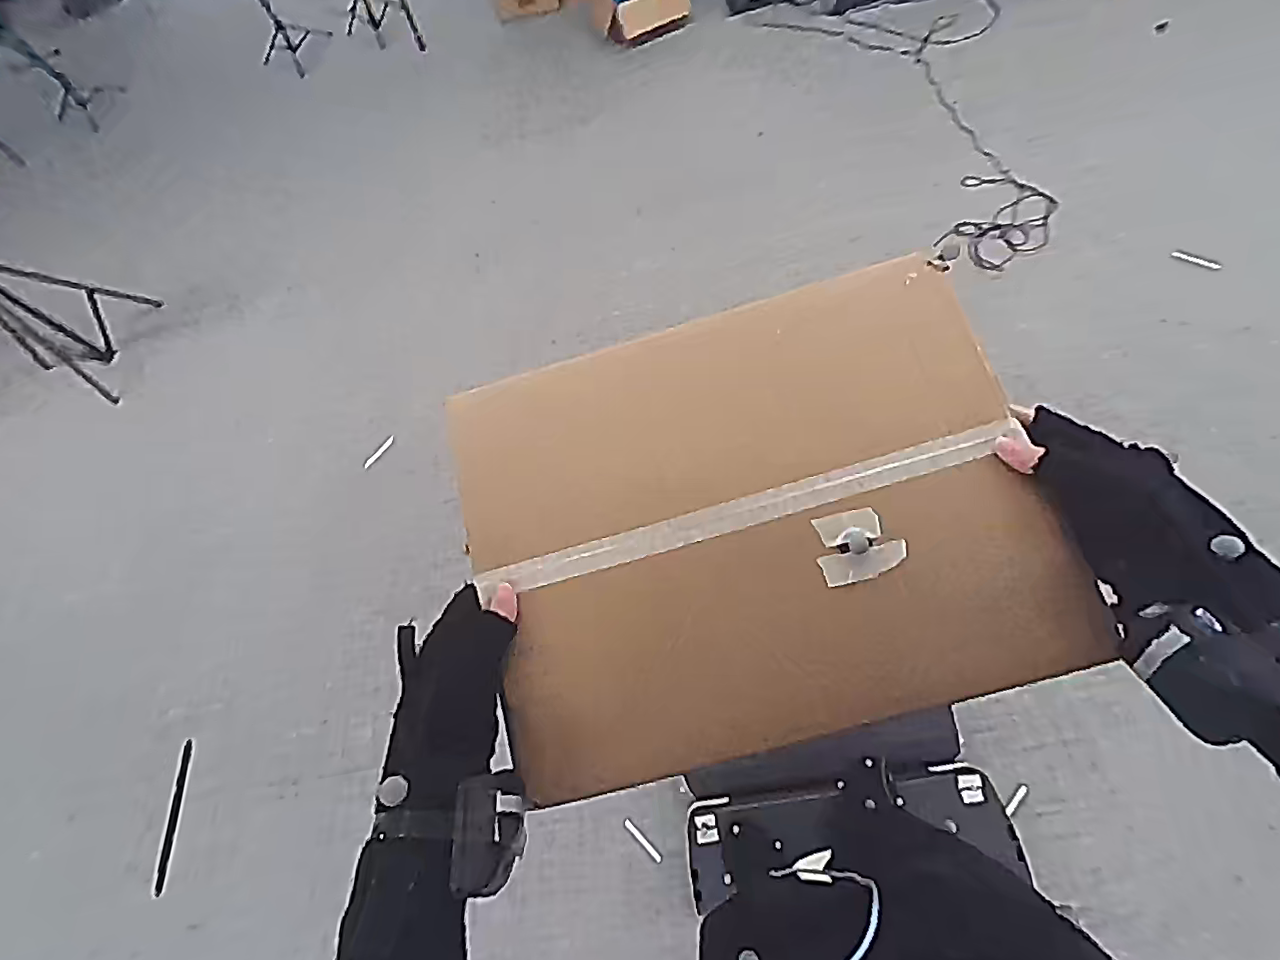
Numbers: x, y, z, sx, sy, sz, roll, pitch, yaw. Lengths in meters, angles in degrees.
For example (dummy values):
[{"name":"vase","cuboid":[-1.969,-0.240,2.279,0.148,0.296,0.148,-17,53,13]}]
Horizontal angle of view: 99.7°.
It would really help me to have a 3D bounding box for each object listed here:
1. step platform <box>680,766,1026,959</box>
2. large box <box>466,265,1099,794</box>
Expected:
[{"name":"step platform","cuboid":[0.433,0.840,1.192,0.684,0.204,0.286,-14,61,7]},{"name":"large box","cuboid":[0.097,0.059,0.551,0.408,0.320,0.320,-16,76,3]}]
